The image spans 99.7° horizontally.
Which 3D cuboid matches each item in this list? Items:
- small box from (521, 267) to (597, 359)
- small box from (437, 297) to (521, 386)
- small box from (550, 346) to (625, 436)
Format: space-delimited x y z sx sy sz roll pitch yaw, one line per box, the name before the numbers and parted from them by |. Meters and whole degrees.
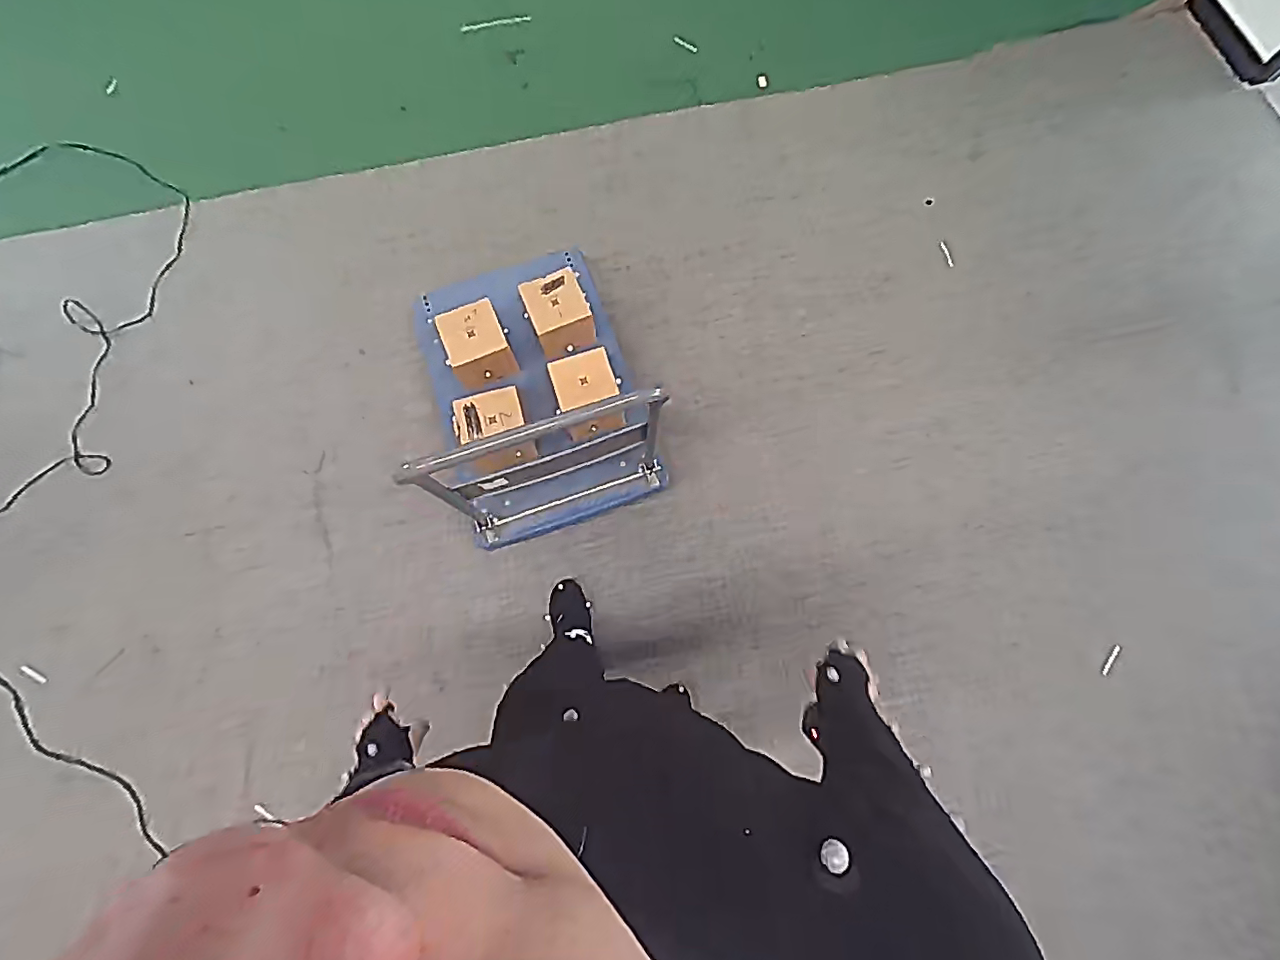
small box | -0.238 -0.496 1.621 0.168 0.176 0.179 -23 76 -4
small box | -0.469 -0.398 1.597 0.168 0.176 0.179 -22 75 -6
small box | -0.147 -0.250 1.552 0.168 0.176 0.179 -18 75 -4
